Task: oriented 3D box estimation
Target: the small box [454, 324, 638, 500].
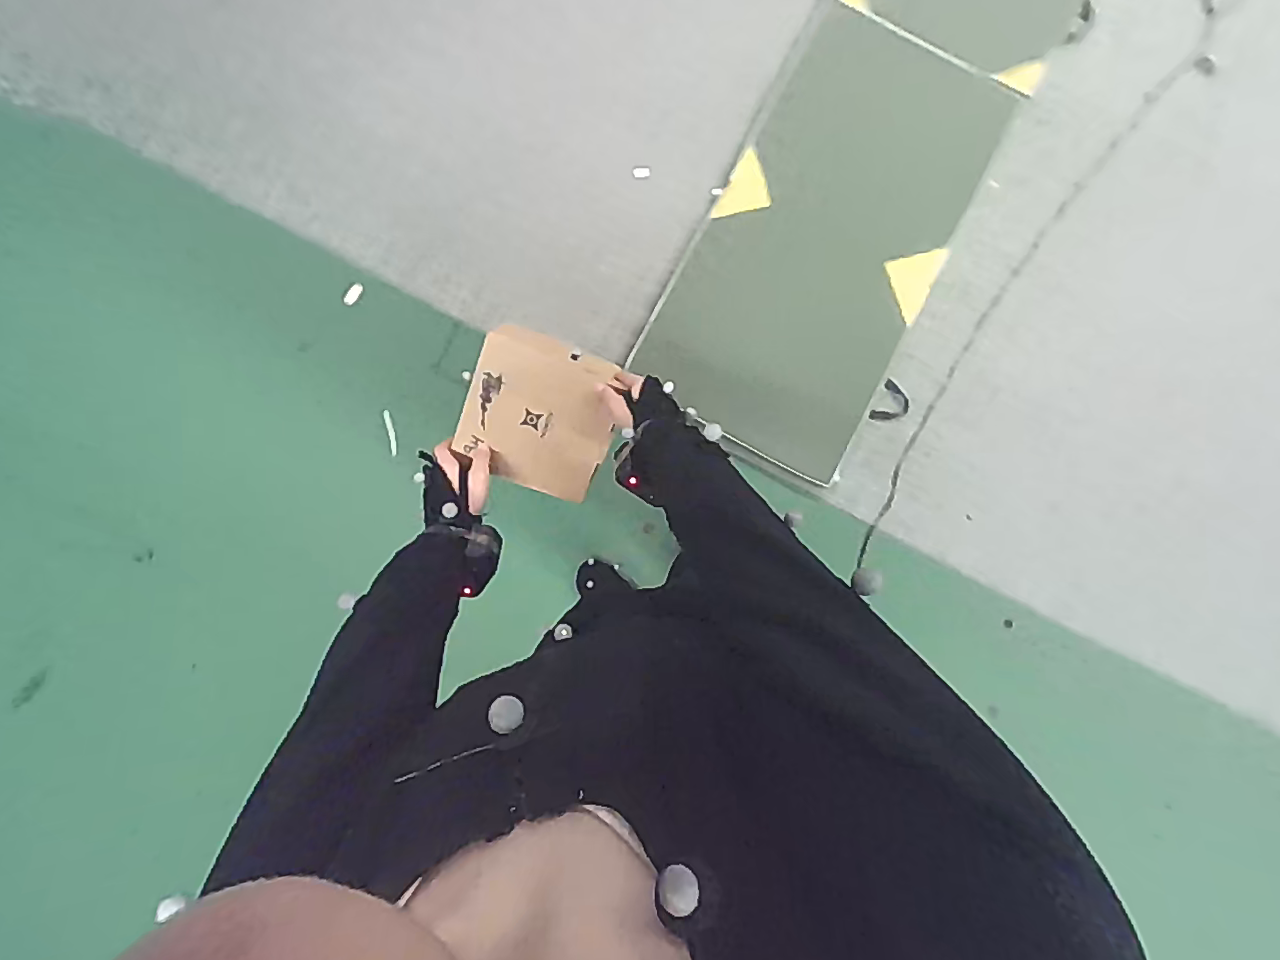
[{"bbox_3d":[-0.121,-0.100,0.717,0.179,0.176,0.168,21,104,-13],"label":"small box"}]
